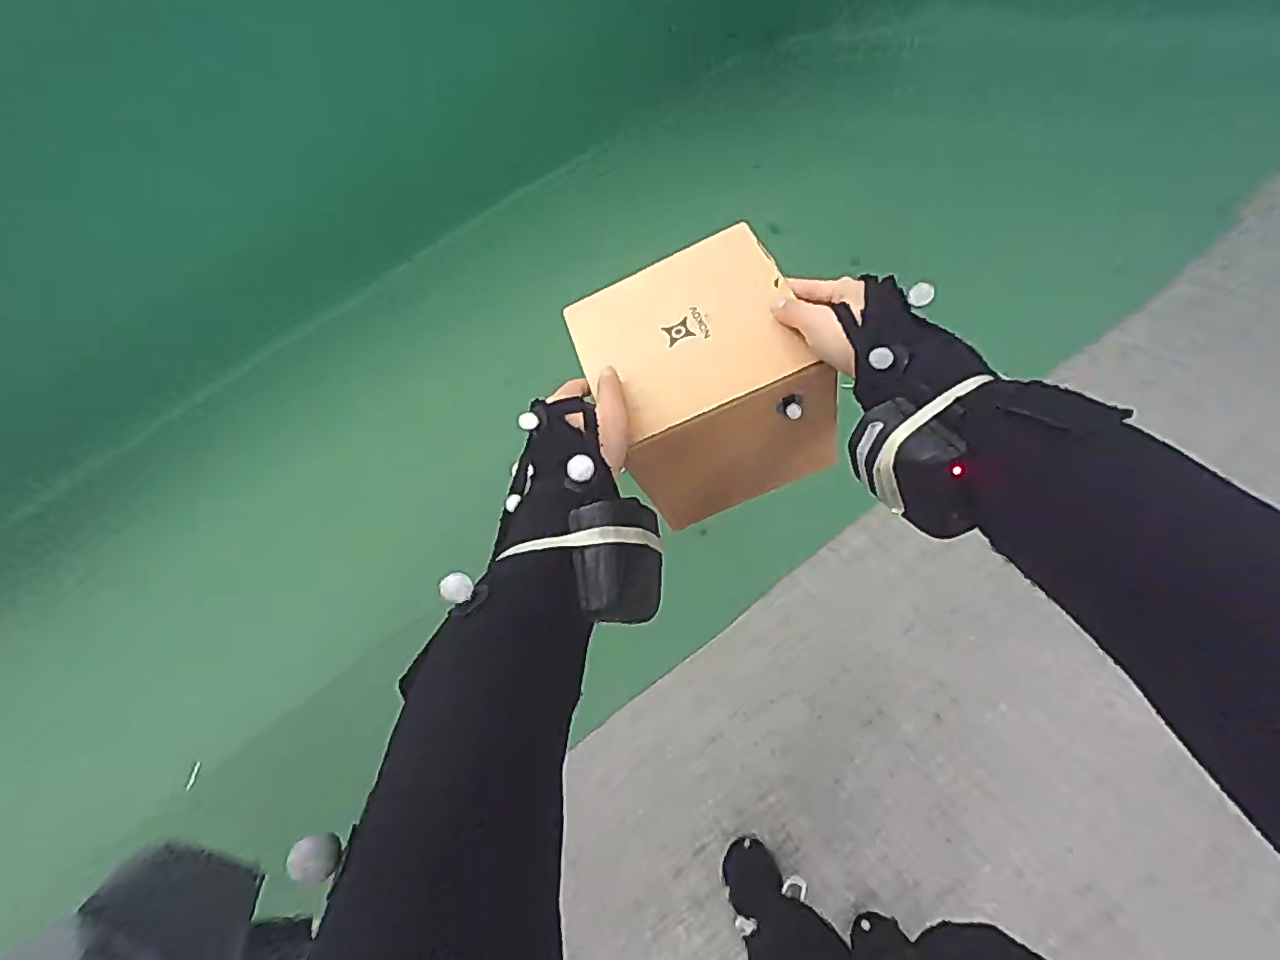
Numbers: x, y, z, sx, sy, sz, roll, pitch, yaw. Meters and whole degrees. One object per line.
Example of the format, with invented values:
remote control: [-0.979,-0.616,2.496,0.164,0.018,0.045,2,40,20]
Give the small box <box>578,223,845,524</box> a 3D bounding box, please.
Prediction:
small box: [0.068,-0.083,0.491,0.179,0.176,0.168,-23,58,6]
